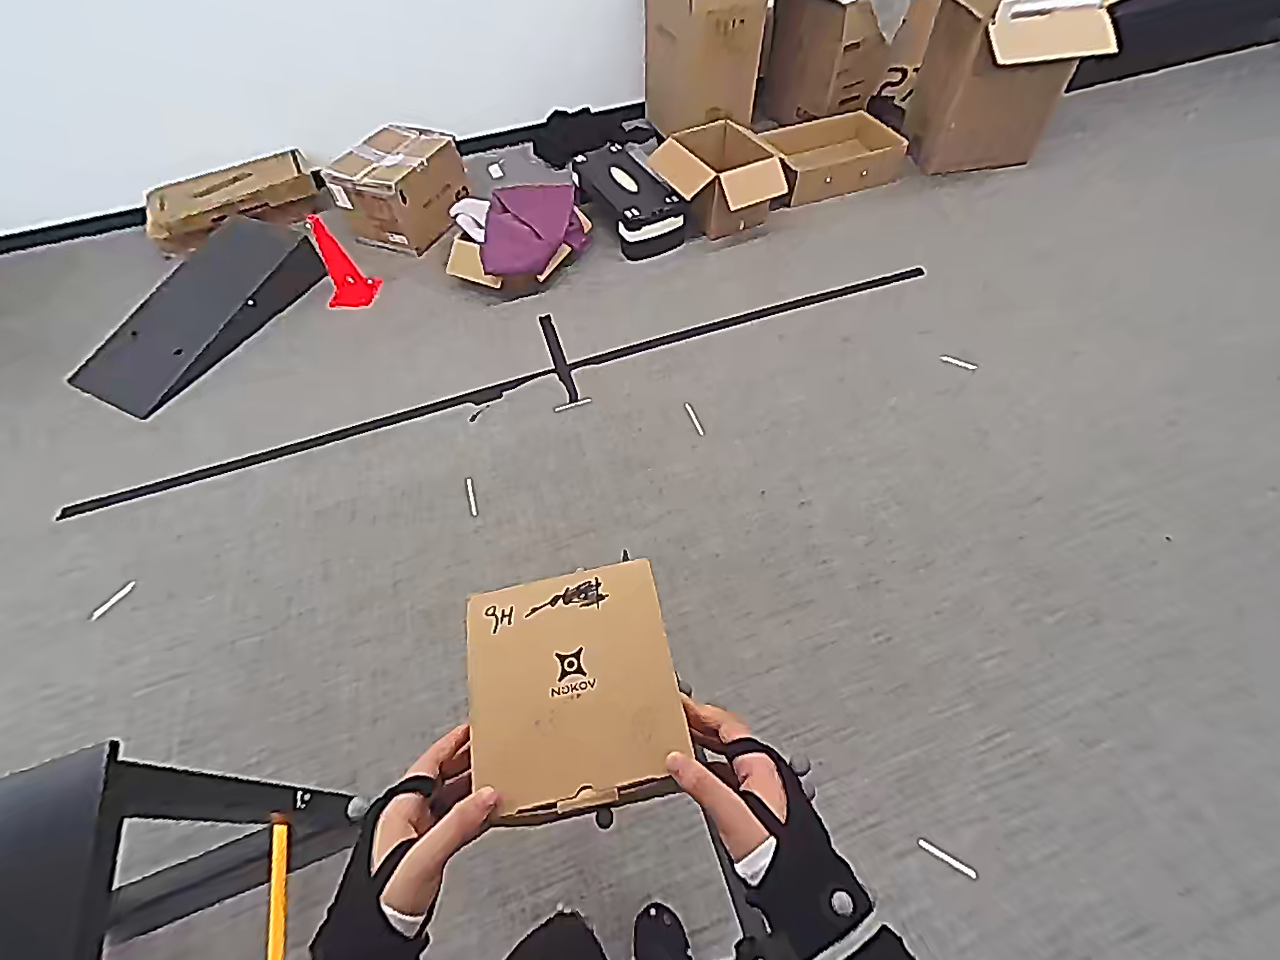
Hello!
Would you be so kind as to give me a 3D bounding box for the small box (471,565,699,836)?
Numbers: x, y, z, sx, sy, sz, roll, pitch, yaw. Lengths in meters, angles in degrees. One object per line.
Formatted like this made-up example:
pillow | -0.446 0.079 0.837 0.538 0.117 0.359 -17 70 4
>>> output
small box | -0.044 0.204 0.498 0.168 0.176 0.179 -13 58 -2
